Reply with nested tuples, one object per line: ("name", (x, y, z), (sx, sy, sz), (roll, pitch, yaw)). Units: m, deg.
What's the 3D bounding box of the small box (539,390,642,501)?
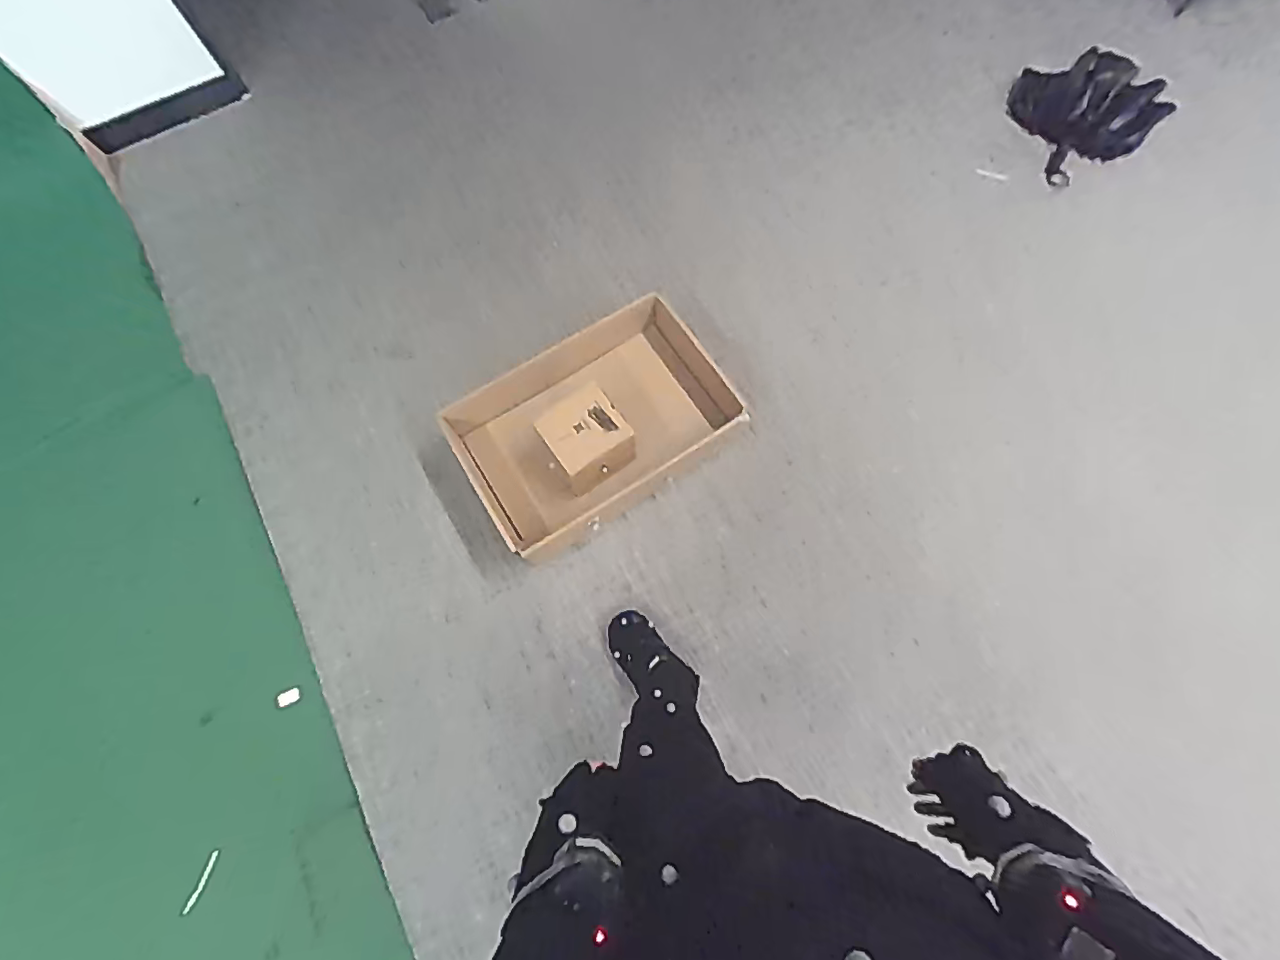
("small box", (-0.111, -0.075, 1.278), (0.179, 0.176, 0.168), (-33, 73, -8))
